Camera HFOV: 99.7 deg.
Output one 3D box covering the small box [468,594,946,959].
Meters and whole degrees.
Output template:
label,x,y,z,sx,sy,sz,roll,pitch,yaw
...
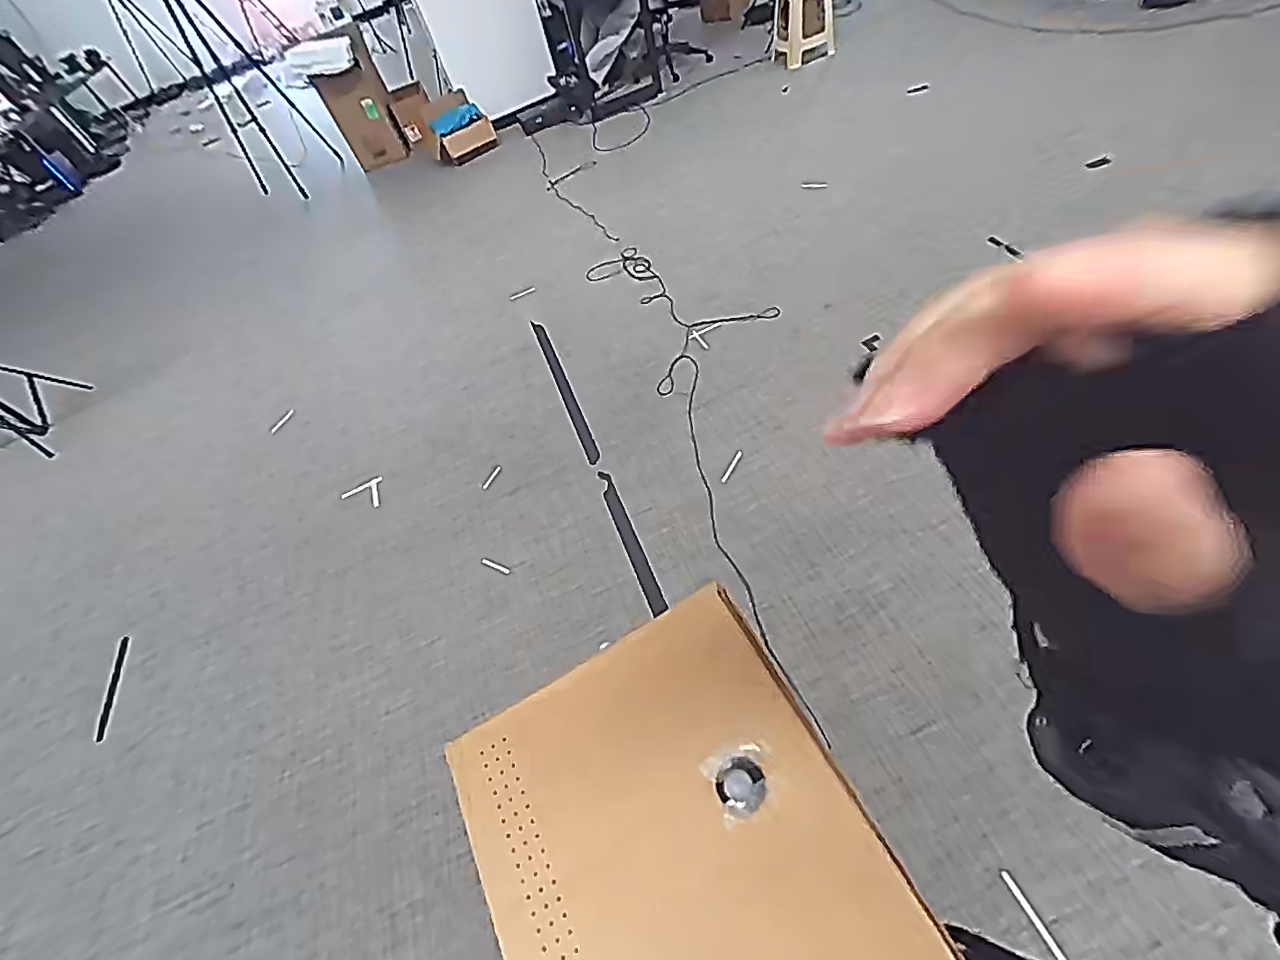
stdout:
label,x,y,z,sx,sy,sz,roll,pitch,yaw
small box,0.028,0.199,0.314,0.176,0.168,0.179,-32,60,0
